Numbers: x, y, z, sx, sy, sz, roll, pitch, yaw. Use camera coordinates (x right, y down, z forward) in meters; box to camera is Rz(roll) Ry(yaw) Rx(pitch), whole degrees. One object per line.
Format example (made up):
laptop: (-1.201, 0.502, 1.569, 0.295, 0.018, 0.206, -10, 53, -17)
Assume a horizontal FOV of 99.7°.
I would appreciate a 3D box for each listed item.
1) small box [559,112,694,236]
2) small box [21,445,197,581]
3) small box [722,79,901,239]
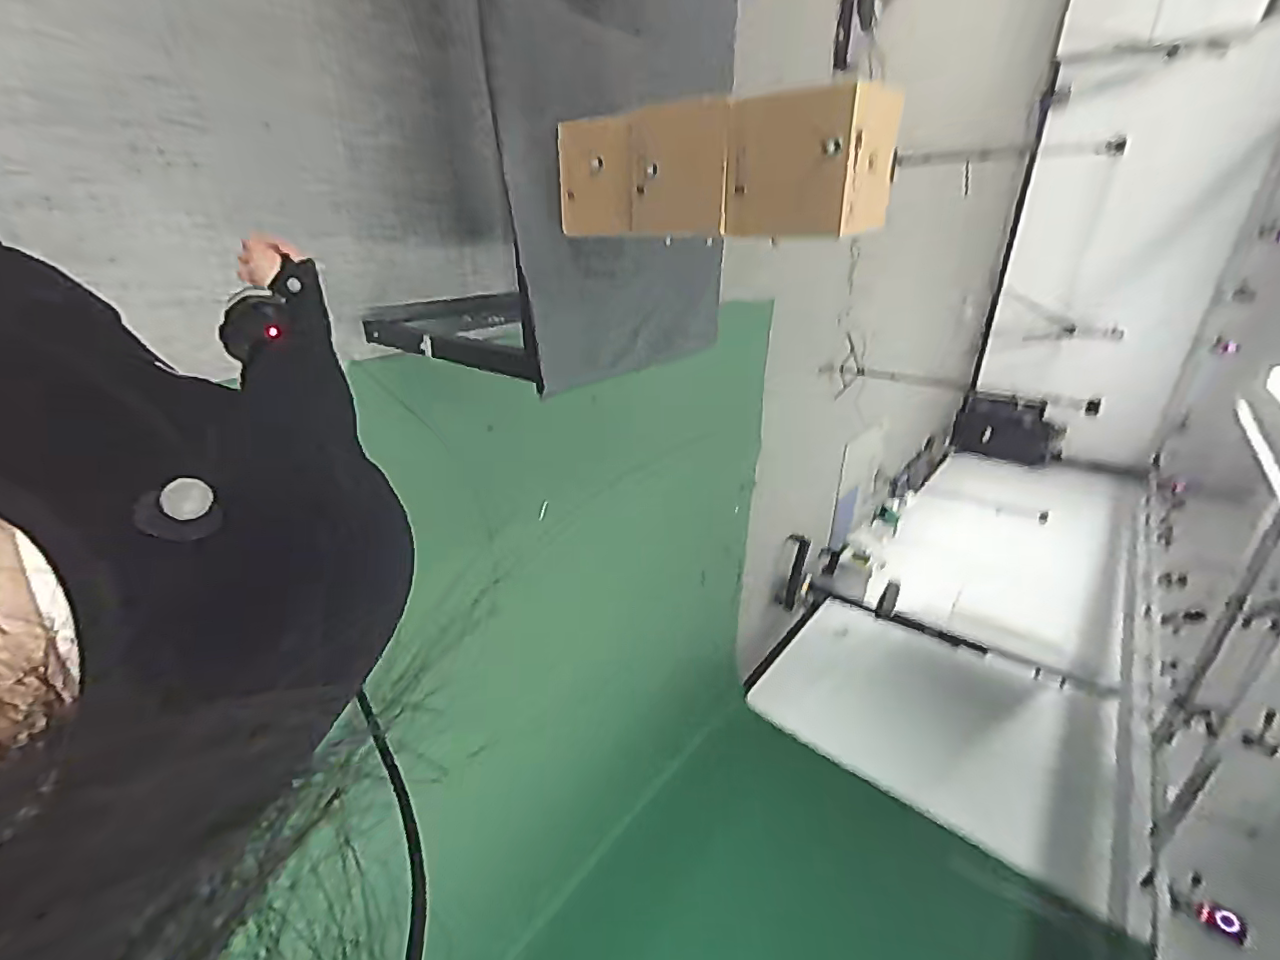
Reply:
small box: (-0.026, -0.509, 0.925, 0.179, 0.176, 0.168, -28, 126, -46)
small box: (-0.939, 0.055, 0.955, 0.168, 0.176, 0.179, 30, 82, -53)
small box: (0.230, -0.424, 0.737, 0.179, 0.176, 0.168, -31, 129, -44)
